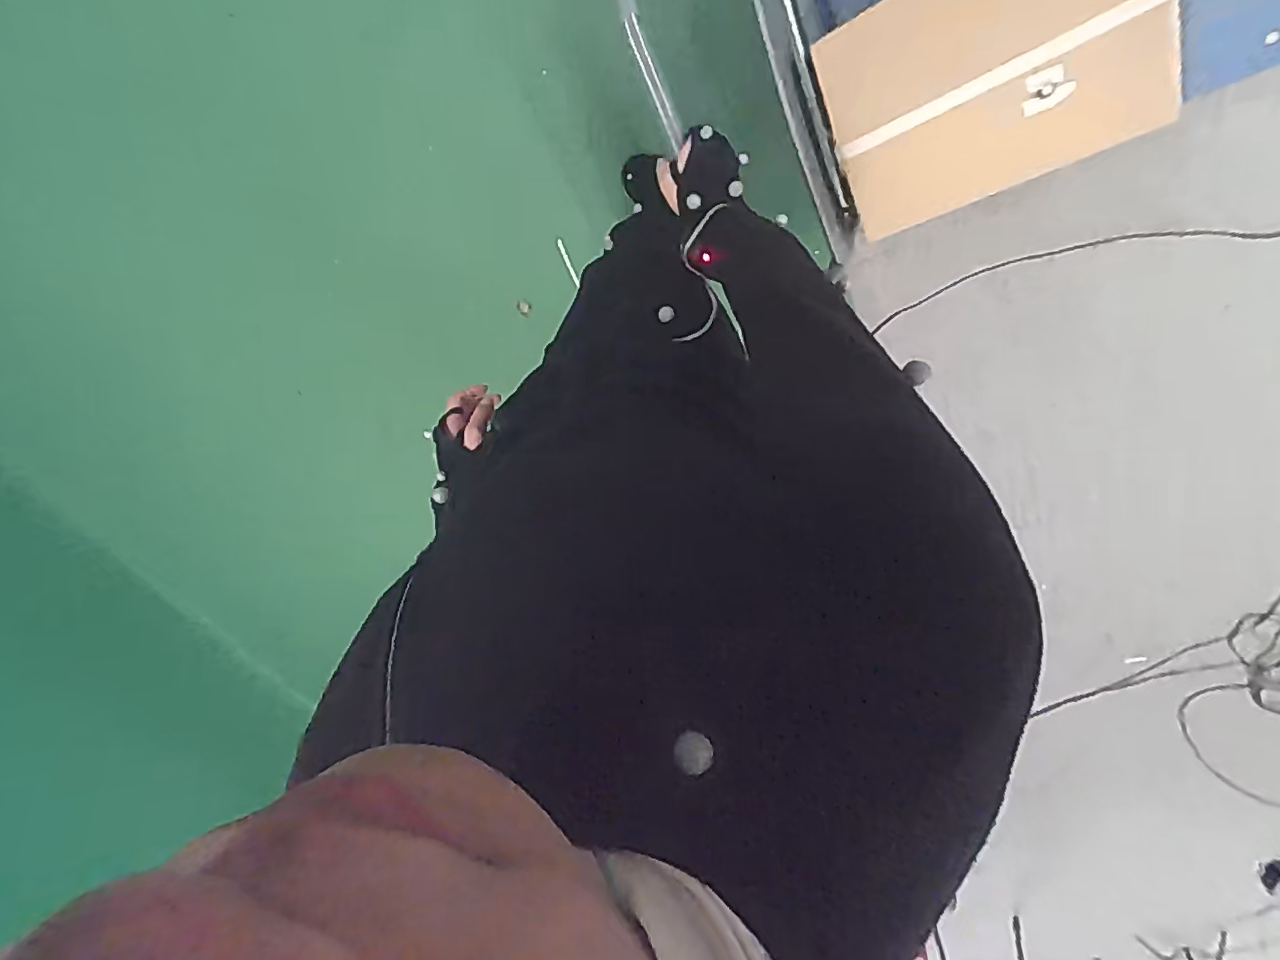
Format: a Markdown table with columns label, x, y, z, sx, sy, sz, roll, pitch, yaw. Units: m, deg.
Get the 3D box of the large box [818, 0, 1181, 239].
| label | x | y | z | sx | sy | sz | roll | pitch | yaw |
| --- | --- | --- | --- | --- | --- | --- | --- | --- | --- |
| large box | 0.549 | -0.665 | 0.883 | 0.408 | 0.320 | 0.320 | -13 | 122 | 33 |
